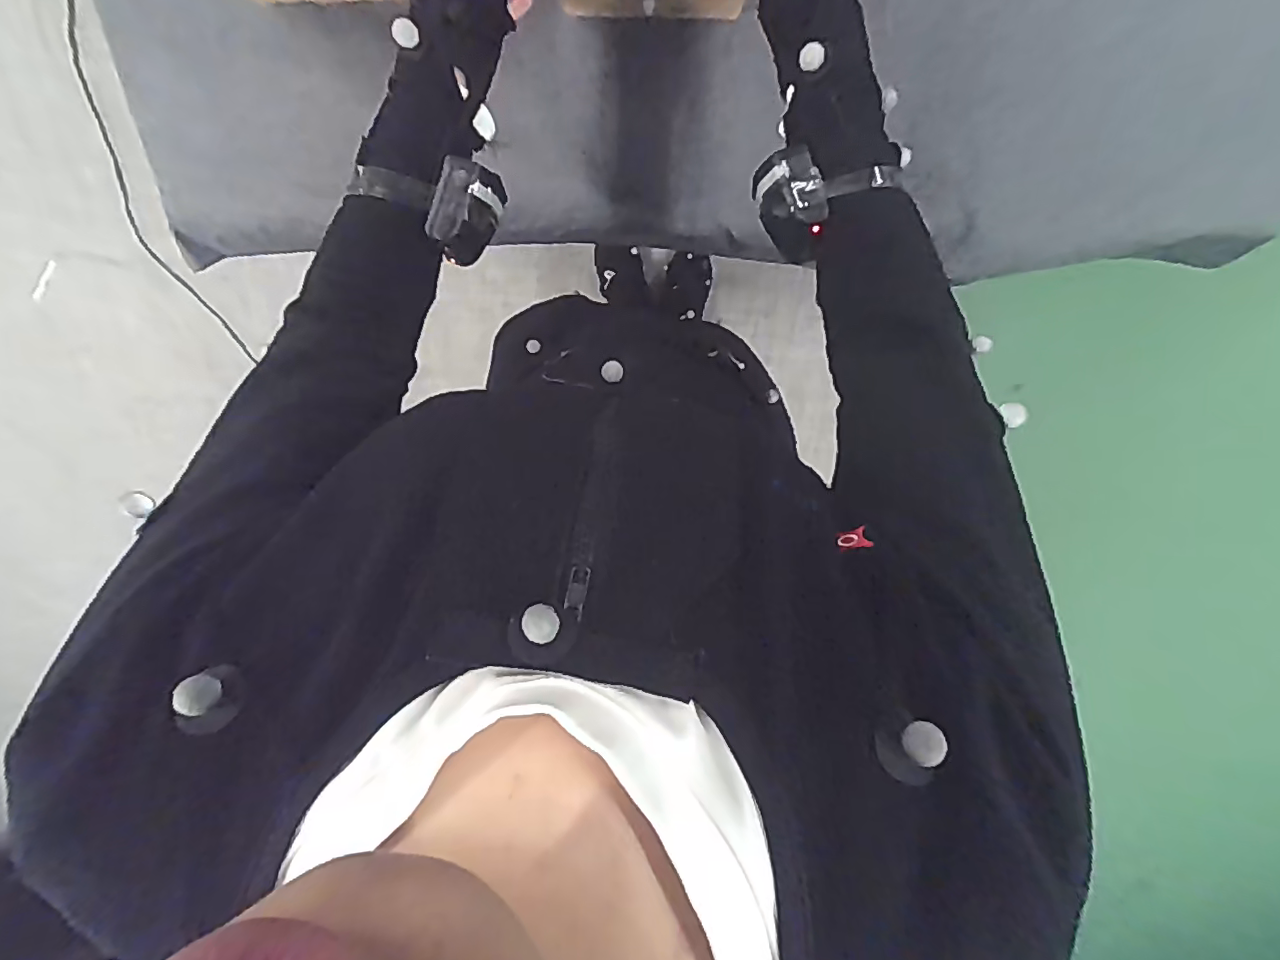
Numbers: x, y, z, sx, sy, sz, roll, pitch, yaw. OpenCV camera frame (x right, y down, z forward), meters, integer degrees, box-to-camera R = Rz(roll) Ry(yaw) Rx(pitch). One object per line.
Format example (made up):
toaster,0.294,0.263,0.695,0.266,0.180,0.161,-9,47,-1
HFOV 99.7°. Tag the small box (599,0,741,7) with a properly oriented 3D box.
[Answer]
small box,0.016,-0.487,0.405,0.168,0.176,0.179,3,118,2
